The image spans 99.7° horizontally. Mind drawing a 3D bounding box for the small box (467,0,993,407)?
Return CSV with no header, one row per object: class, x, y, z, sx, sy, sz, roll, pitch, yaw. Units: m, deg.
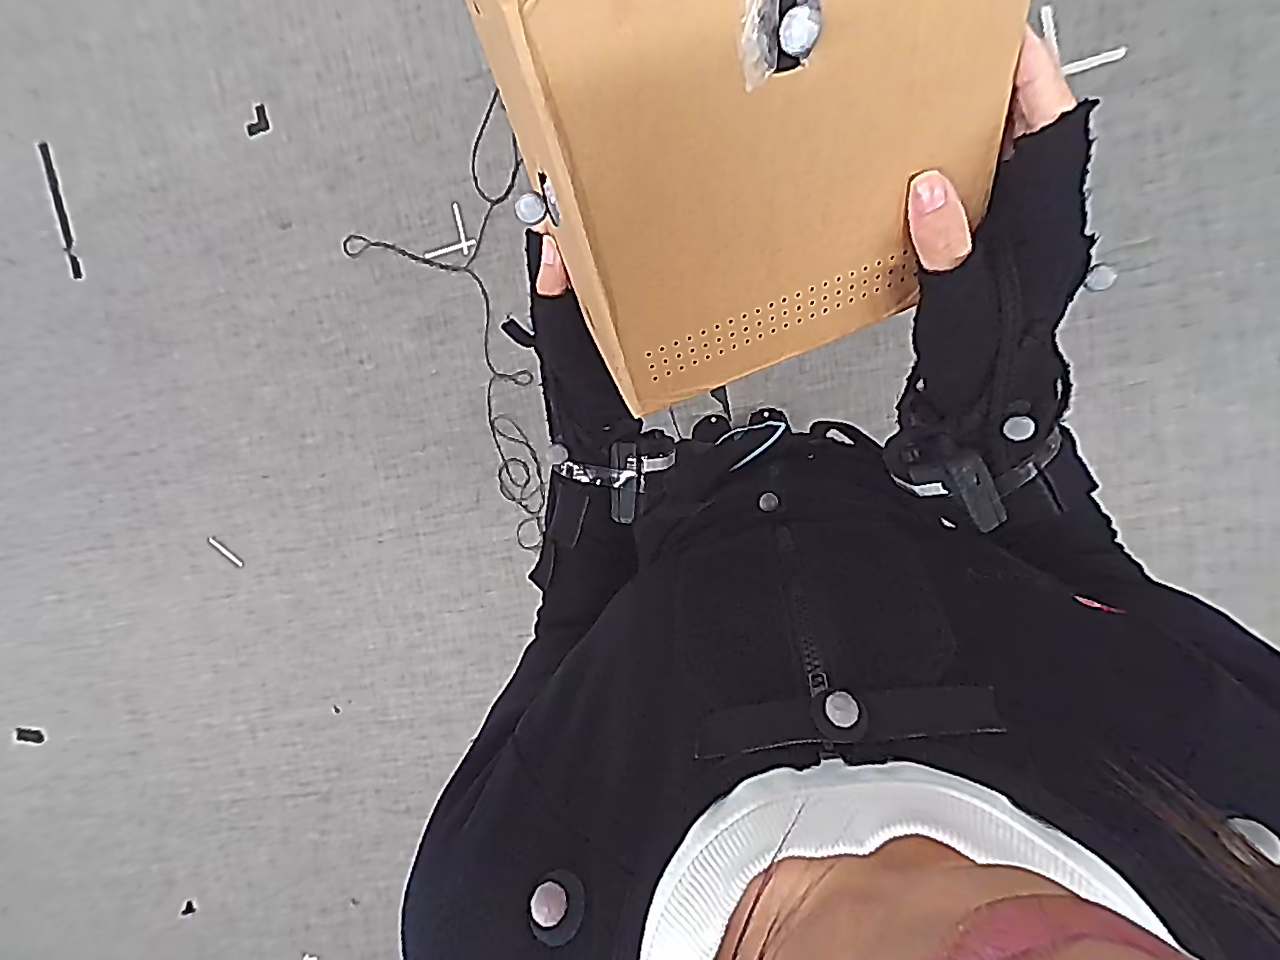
small box,0.038,-0.163,0.261,0.179,0.168,0.176,-22,135,-2
